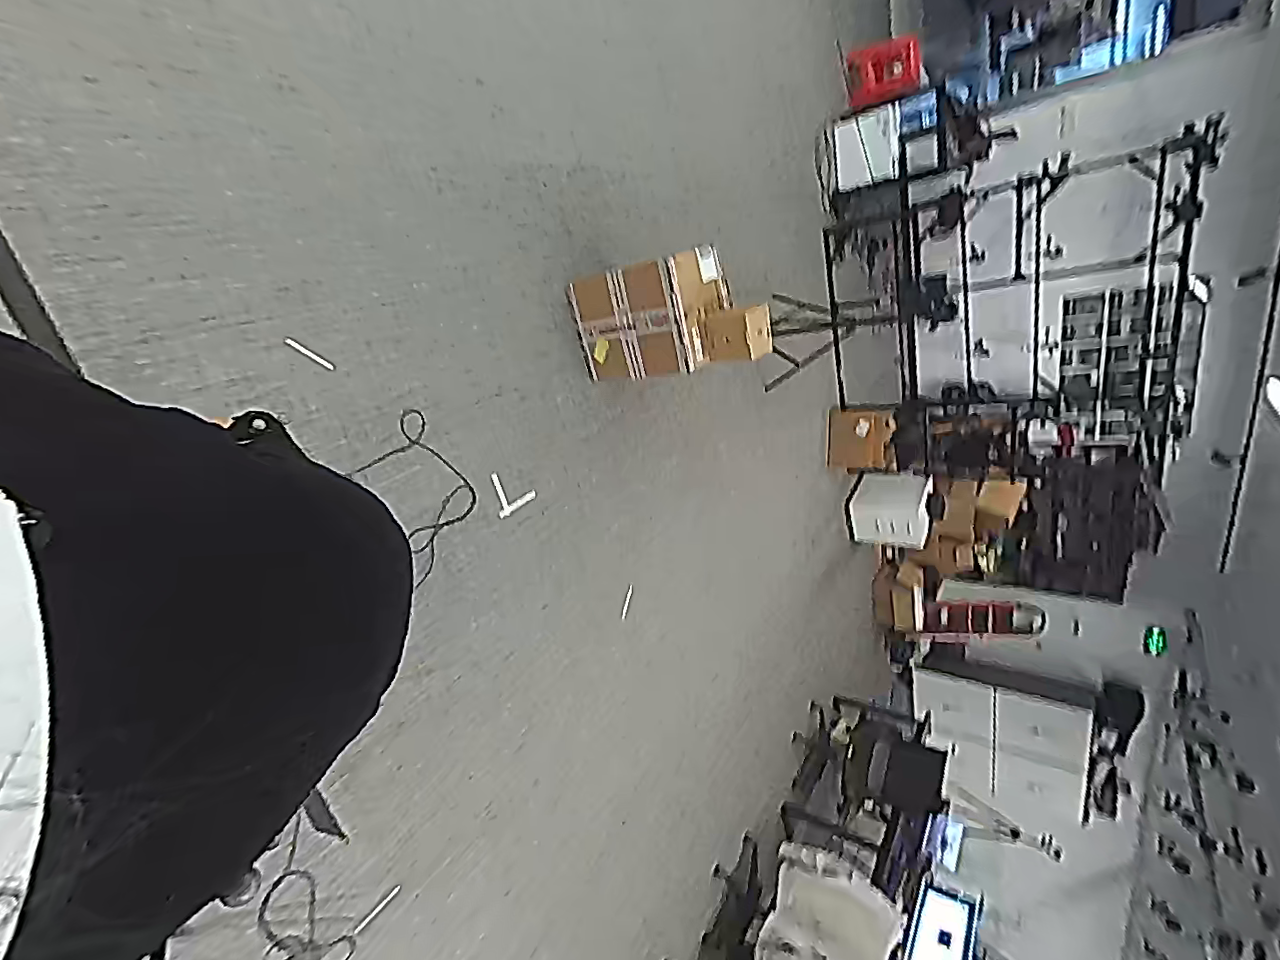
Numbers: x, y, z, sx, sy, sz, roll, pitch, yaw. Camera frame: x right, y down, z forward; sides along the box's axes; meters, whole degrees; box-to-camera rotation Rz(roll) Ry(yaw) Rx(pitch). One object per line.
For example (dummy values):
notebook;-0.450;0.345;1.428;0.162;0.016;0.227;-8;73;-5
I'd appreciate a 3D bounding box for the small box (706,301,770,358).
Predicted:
small box;0.351;-0.546;1.967;0.179;0.176;0.168;-34;121;-42
